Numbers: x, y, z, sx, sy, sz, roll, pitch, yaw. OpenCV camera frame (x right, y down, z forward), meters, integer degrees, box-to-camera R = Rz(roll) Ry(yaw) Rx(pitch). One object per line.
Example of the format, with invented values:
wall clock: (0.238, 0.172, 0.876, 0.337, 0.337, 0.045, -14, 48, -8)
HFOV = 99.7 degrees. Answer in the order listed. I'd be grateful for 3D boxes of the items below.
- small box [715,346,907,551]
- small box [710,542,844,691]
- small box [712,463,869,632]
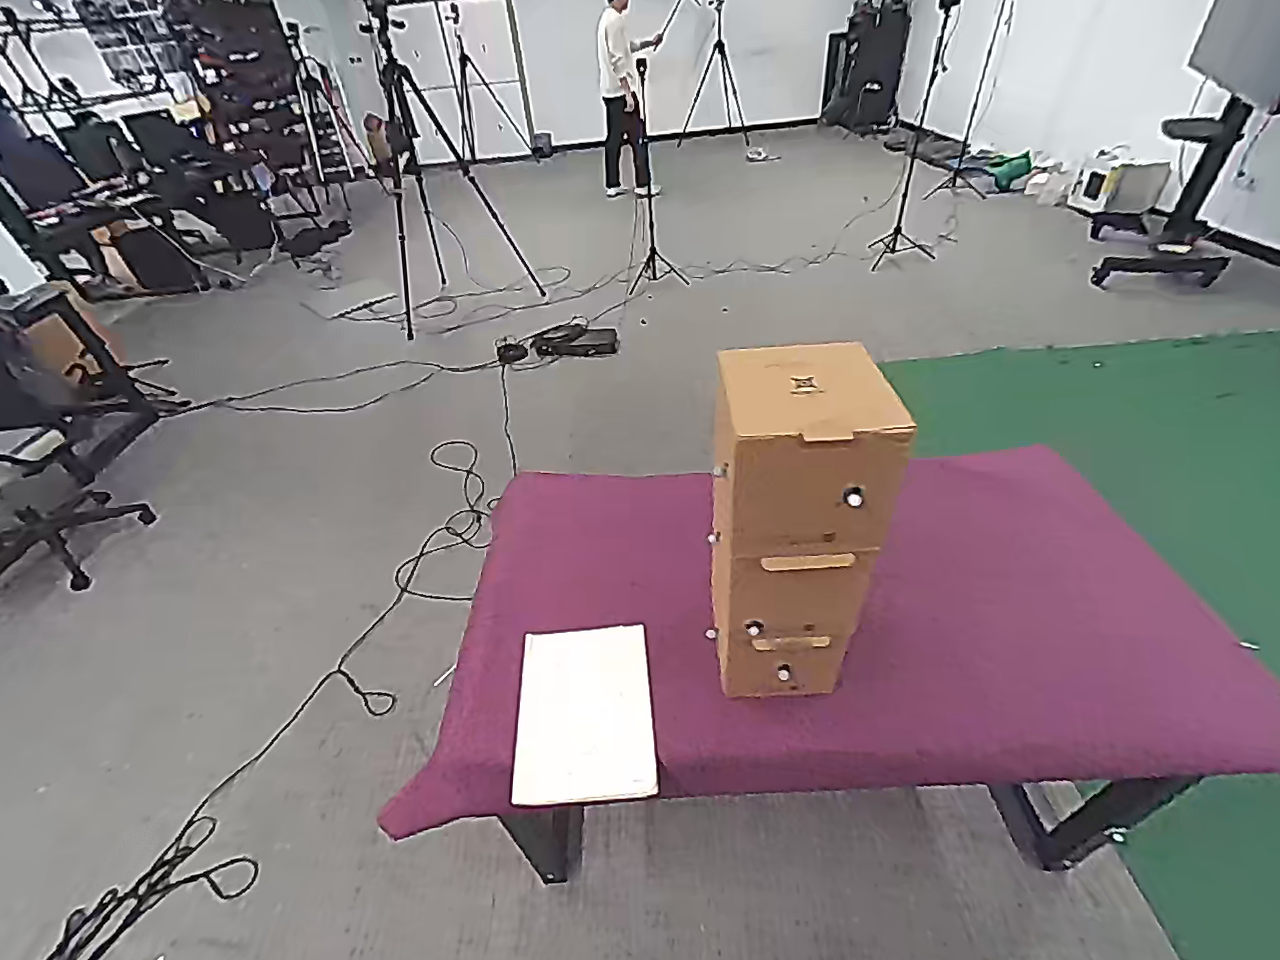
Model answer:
small box: (0.174, -0.032, 0.614, 0.168, 0.176, 0.179, -2, 40, 3)
small box: (0.198, 0.210, 0.834, 0.168, 0.176, 0.179, -3, 41, 3)
small box: (0.186, 0.089, 0.723, 0.168, 0.176, 0.179, -3, 39, 3)
